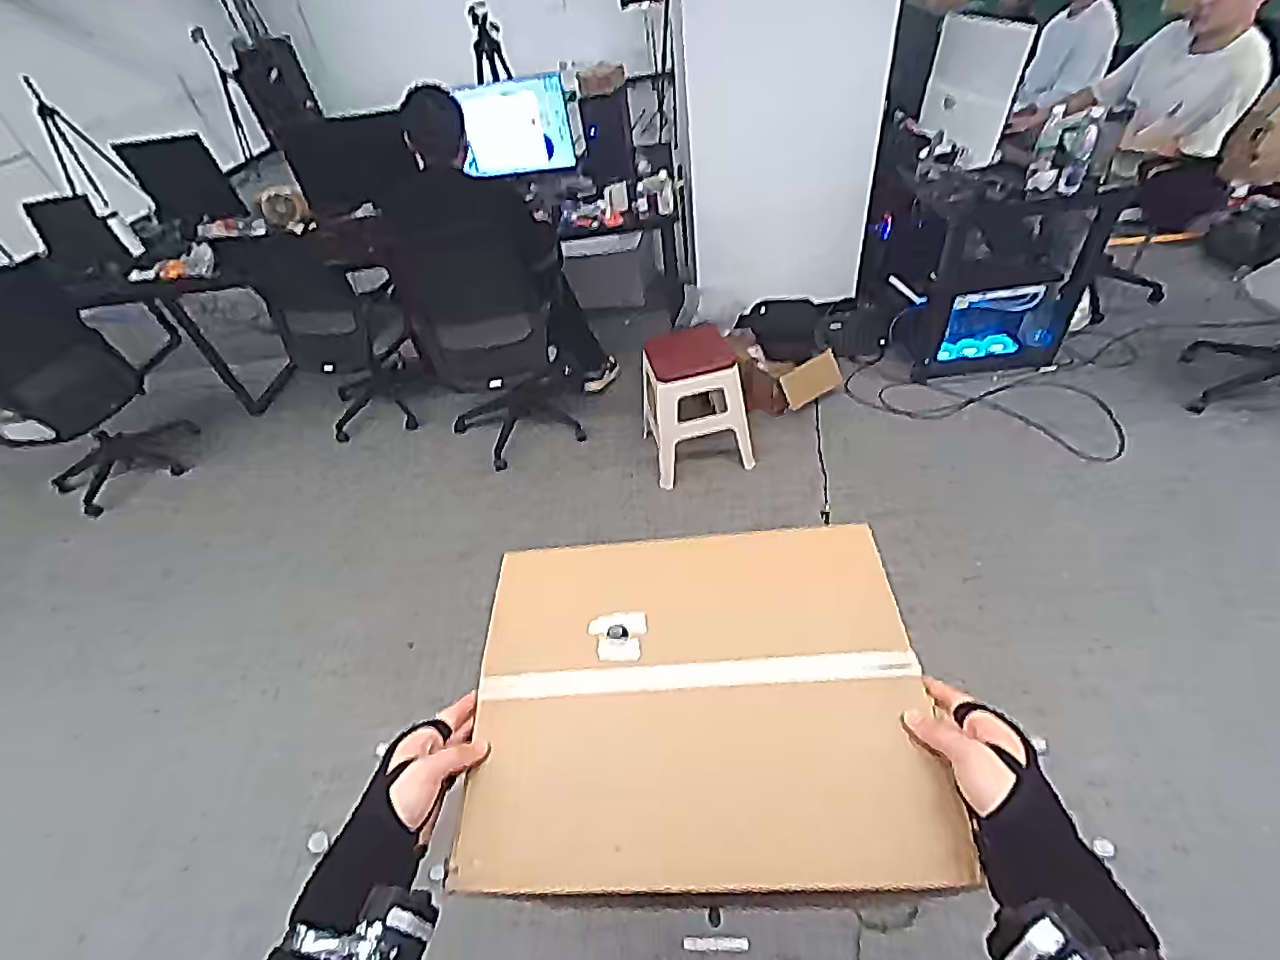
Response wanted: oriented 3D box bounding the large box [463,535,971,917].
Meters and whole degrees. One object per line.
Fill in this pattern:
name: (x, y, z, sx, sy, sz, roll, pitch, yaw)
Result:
large box: (0.072, 0.295, 0.624, 0.408, 0.320, 0.320, -7, 47, 6)
